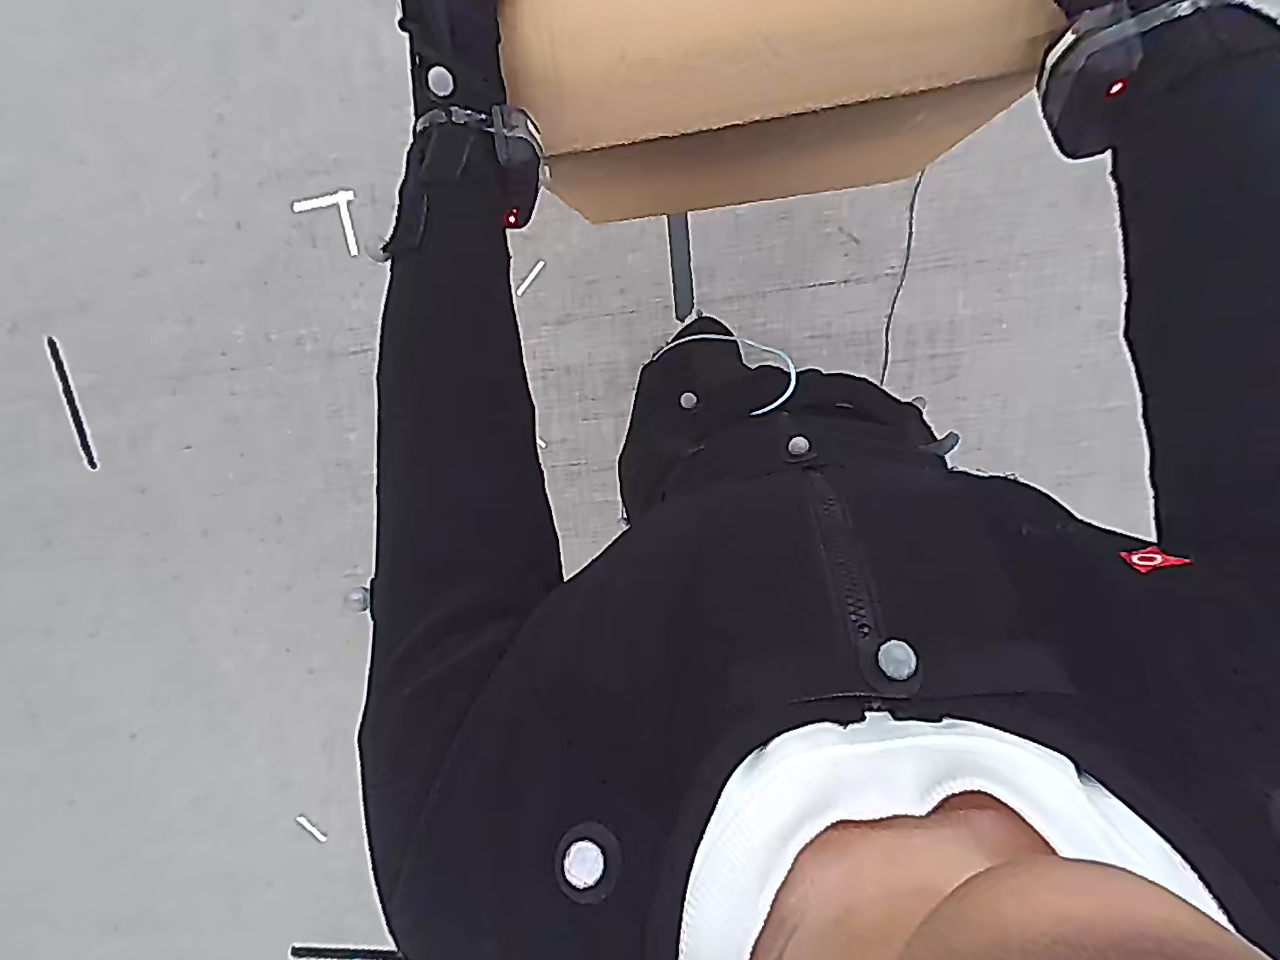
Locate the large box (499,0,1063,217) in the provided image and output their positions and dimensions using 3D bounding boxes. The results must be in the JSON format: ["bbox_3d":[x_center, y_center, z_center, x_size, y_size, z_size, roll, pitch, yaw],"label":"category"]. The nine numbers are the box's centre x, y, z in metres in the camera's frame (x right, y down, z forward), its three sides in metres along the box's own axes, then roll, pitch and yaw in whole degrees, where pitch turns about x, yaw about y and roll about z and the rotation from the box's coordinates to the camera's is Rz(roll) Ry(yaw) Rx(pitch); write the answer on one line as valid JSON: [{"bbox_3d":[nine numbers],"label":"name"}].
[{"bbox_3d":[0.096,-0.471,0.511,0.408,0.320,0.320,-5,106,8],"label":"large box"}]
